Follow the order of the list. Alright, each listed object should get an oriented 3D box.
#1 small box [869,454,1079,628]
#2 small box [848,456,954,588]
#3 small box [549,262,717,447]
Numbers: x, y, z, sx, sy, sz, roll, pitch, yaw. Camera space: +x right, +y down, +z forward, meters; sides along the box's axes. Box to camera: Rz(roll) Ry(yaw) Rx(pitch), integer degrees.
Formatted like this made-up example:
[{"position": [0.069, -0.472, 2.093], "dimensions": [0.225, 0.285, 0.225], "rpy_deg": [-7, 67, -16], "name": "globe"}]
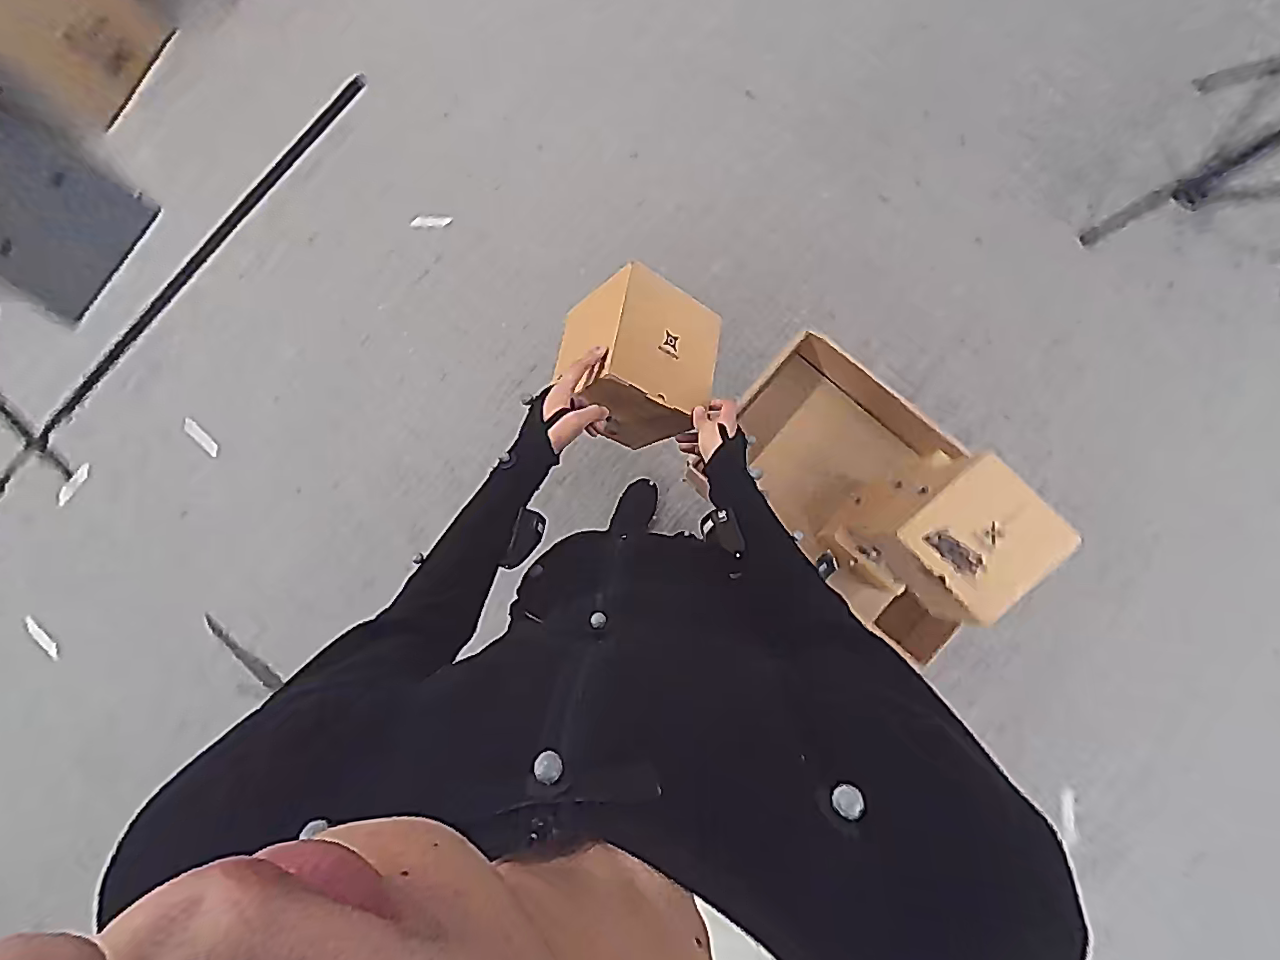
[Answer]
[{"position": [0.467, 0.089, 0.795], "dimensions": [0.179, 0.176, 0.168], "rpy_deg": [-41, 82, -1], "name": "small box"}, {"position": [0.503, 0.083, 0.960], "dimensions": [0.168, 0.176, 0.179], "rpy_deg": [44, 89, 9], "name": "small box"}, {"position": [-0.012, -0.165, 0.776], "dimensions": [0.168, 0.176, 0.179], "rpy_deg": [20, 70, -33], "name": "small box"}]
